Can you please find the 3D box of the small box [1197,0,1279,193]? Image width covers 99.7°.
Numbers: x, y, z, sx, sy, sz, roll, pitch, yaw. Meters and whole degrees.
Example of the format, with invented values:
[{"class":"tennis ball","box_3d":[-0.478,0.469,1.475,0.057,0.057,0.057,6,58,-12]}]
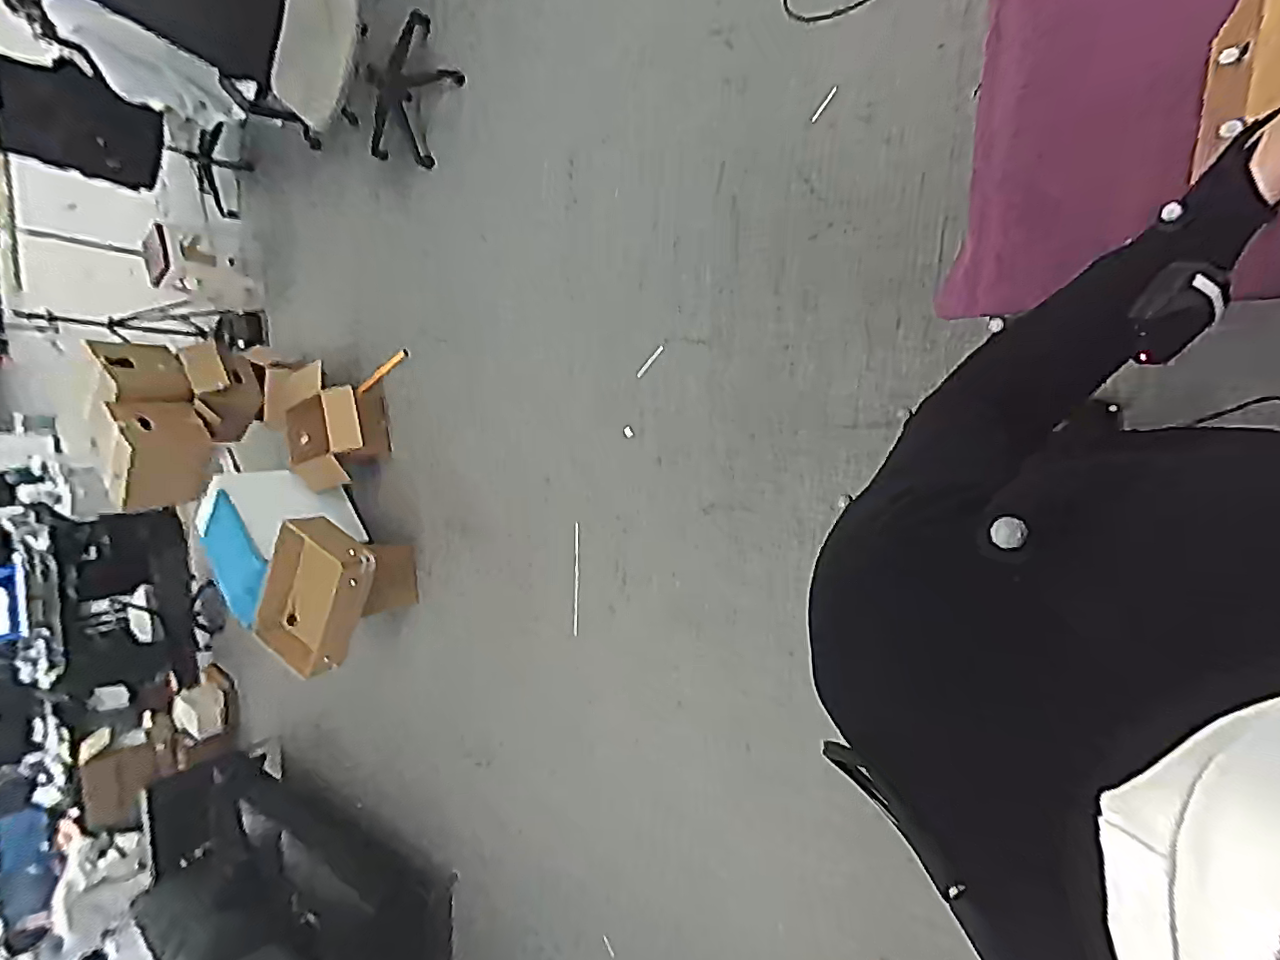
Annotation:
[{"class":"small box","box_3d":[0.671,-0.393,0.511,0.168,0.176,0.179,8,98,33]}]
